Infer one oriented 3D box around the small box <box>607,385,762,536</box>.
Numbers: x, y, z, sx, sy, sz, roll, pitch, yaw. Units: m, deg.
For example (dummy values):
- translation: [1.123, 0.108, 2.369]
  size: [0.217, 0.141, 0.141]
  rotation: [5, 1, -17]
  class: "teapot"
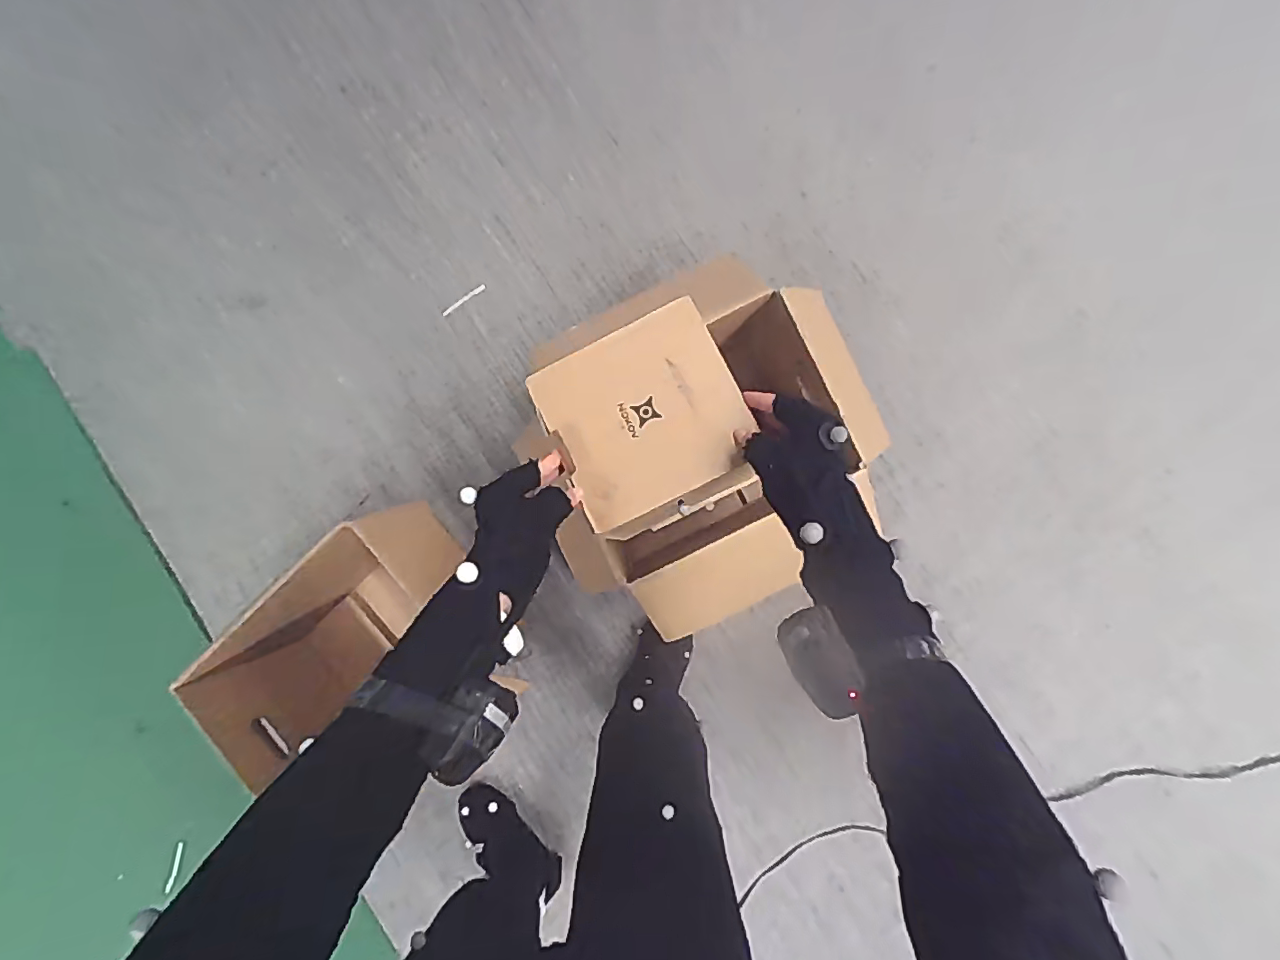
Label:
- translation: [0.069, -0.028, 0.854]
  size: [0.179, 0.176, 0.168]
  rotation: [-28, 87, 5]
  class: "small box"
